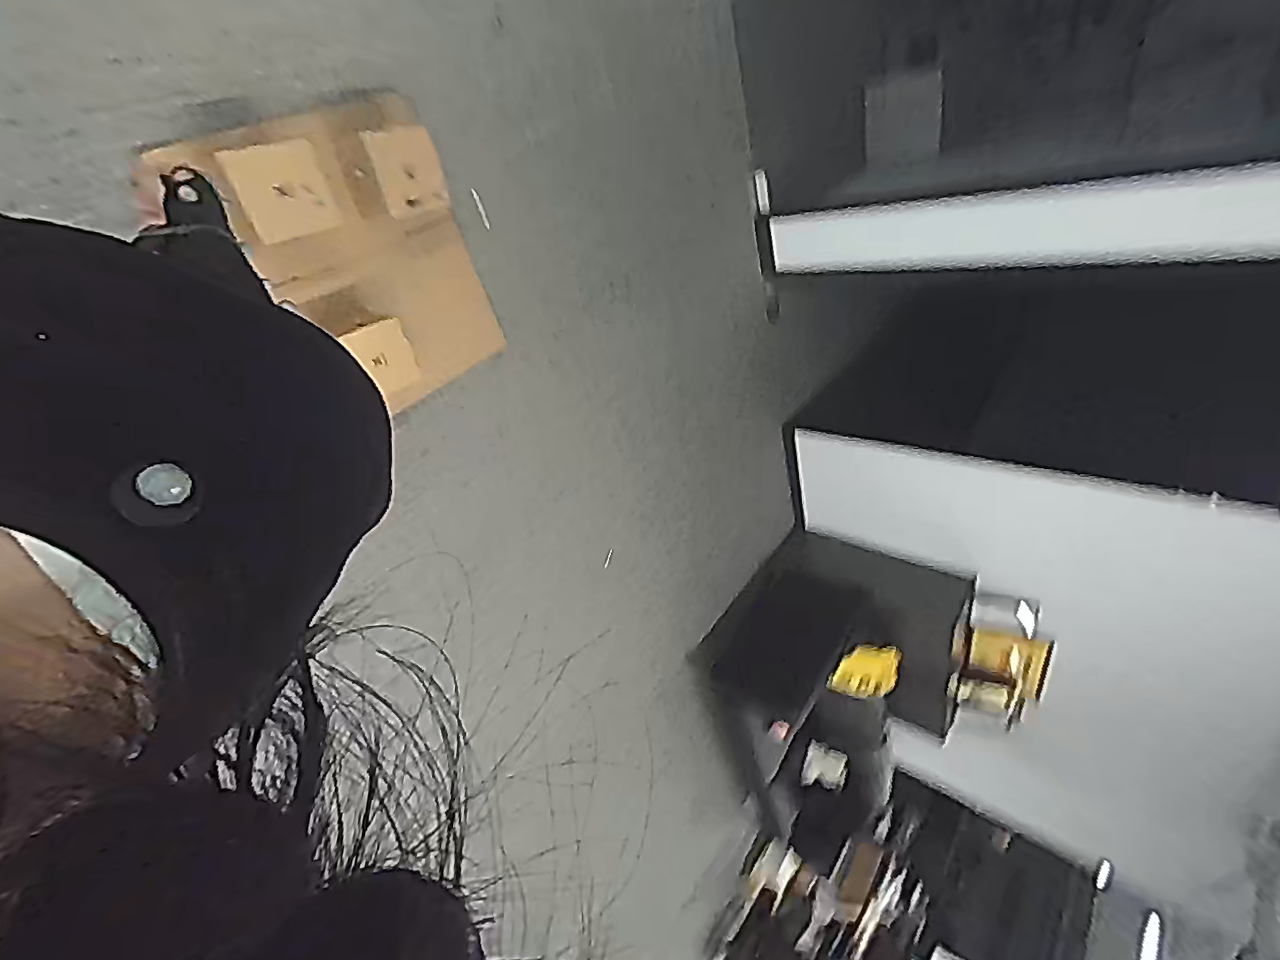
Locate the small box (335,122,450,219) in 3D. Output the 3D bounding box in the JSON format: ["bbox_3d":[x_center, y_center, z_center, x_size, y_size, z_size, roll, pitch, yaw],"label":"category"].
[{"bbox_3d":[-0.600,-0.745,1.309,0.168,0.176,0.179,-36,129,-37],"label":"small box"}]

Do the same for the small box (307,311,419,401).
[{"bbox_3d":[-0.698,-0.315,1.351,0.179,0.176,0.168,-39,131,-35],"label":"small box"}]

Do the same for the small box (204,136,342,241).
[{"bbox_3d":[-0.780,-0.613,1.145,0.179,0.176,0.168,-38,130,-36],"label":"small box"}]
